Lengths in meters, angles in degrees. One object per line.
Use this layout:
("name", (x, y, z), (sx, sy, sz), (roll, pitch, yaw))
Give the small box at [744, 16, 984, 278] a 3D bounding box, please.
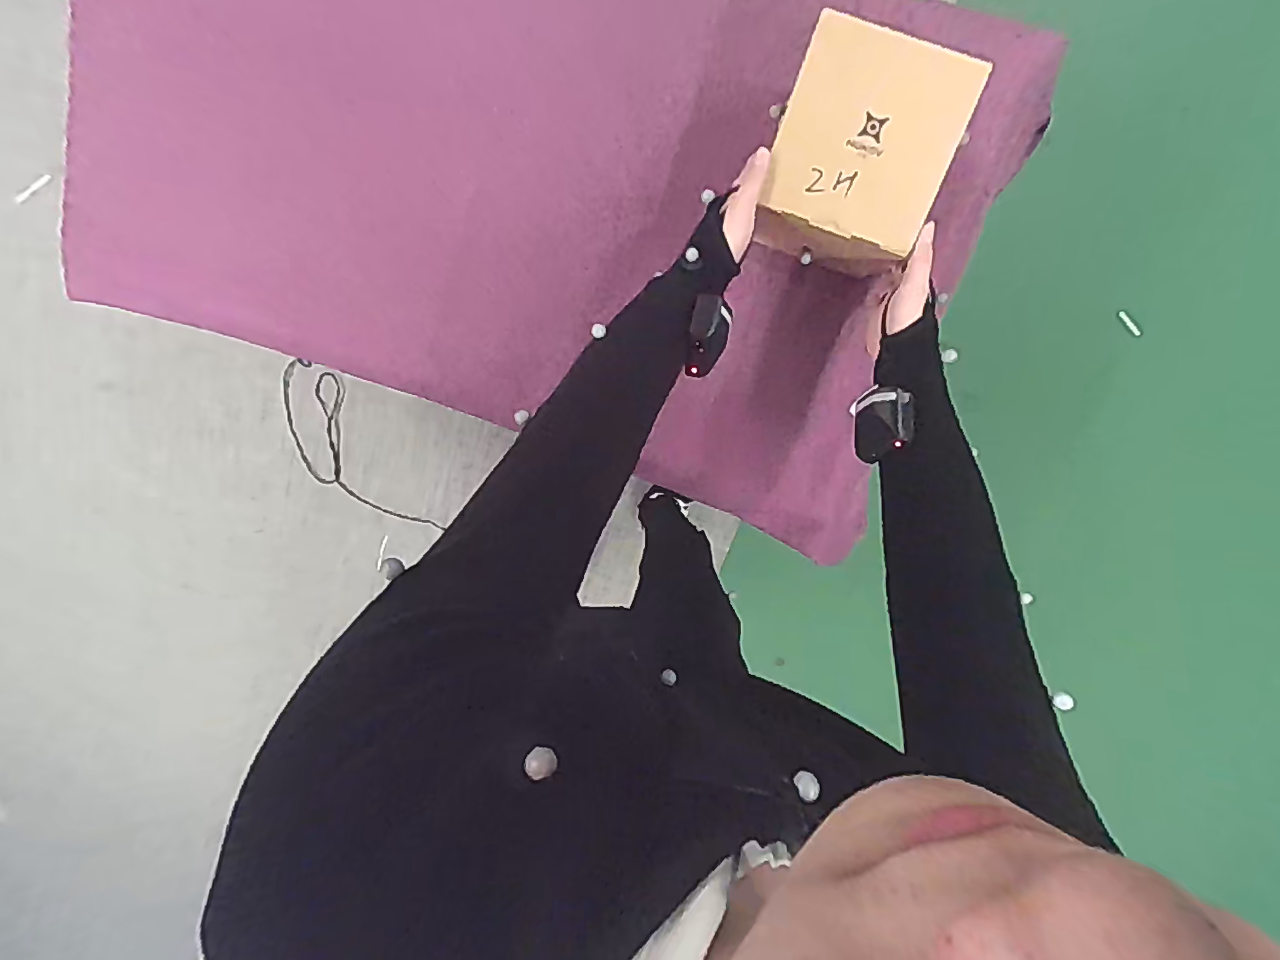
("small box", (0.223, -0.344, 0.598), (0.168, 0.176, 0.179), (20, 105, 1))
